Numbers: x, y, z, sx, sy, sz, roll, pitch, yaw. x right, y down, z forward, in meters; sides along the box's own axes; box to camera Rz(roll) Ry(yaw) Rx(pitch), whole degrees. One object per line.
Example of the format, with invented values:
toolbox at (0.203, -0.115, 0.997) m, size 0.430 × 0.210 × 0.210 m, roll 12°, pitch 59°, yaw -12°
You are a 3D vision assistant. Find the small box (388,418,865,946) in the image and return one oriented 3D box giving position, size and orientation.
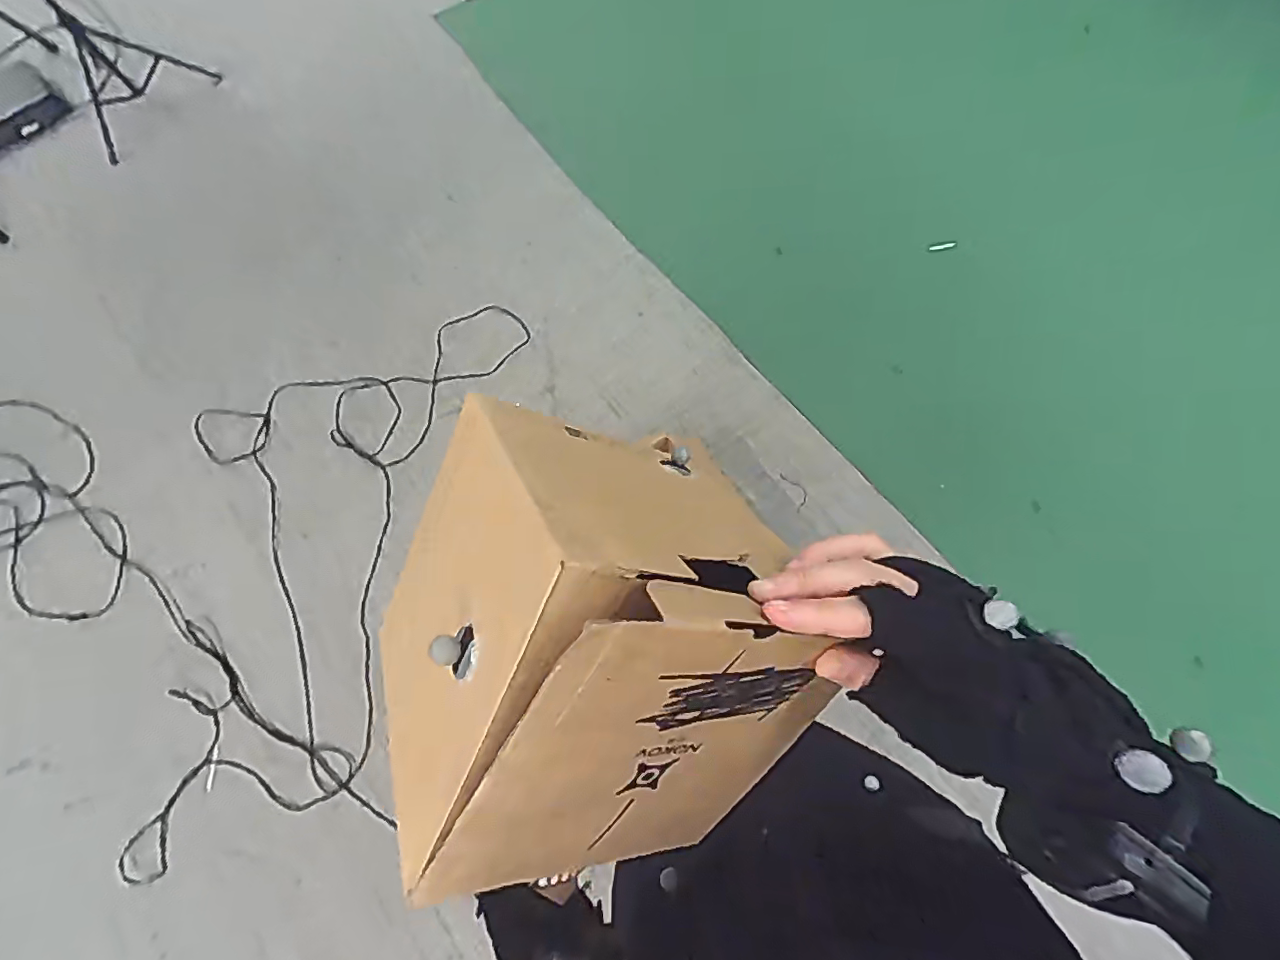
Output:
small box at (-0.028, 0.087, 0.294) m, size 0.168 × 0.176 × 0.179 m, roll 15°, pitch 111°, yaw -34°
